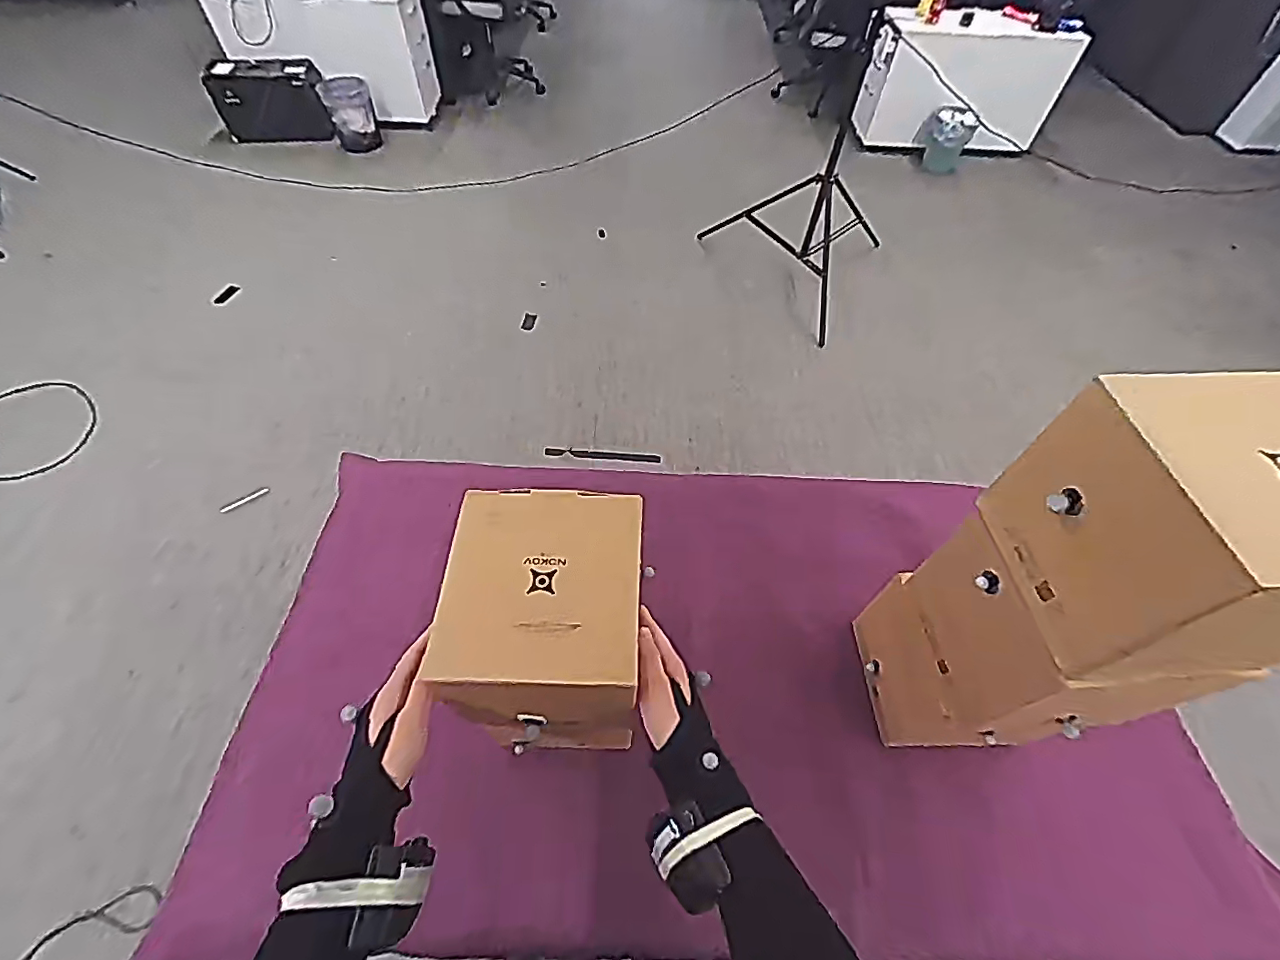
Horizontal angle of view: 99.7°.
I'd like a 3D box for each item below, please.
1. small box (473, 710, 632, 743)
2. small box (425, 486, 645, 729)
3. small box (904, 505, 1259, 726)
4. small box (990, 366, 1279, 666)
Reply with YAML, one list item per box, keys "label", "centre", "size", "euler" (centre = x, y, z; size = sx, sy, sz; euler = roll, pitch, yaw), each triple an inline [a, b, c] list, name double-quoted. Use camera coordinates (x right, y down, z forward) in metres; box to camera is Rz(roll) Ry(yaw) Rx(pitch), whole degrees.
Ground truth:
- label: "small box"
  centre: [-0.090, 0.212, 0.659]
  size: [0.168, 0.176, 0.179]
  euler: [2, 53, -2]
- label: "small box"
  centre: [-0.083, 0.126, 0.521]
  size: [0.168, 0.176, 0.179]
  euler: [2, 54, -1]
- label: "small box"
  centre: [0.402, 0.136, 0.536]
  size: [0.179, 0.176, 0.168]
  euler: [-2, 54, -4]
- label: "small box"
  centre: [0.407, 0.033, 0.409]
  size: [0.179, 0.176, 0.168]
  euler: [-2, 54, -3]
